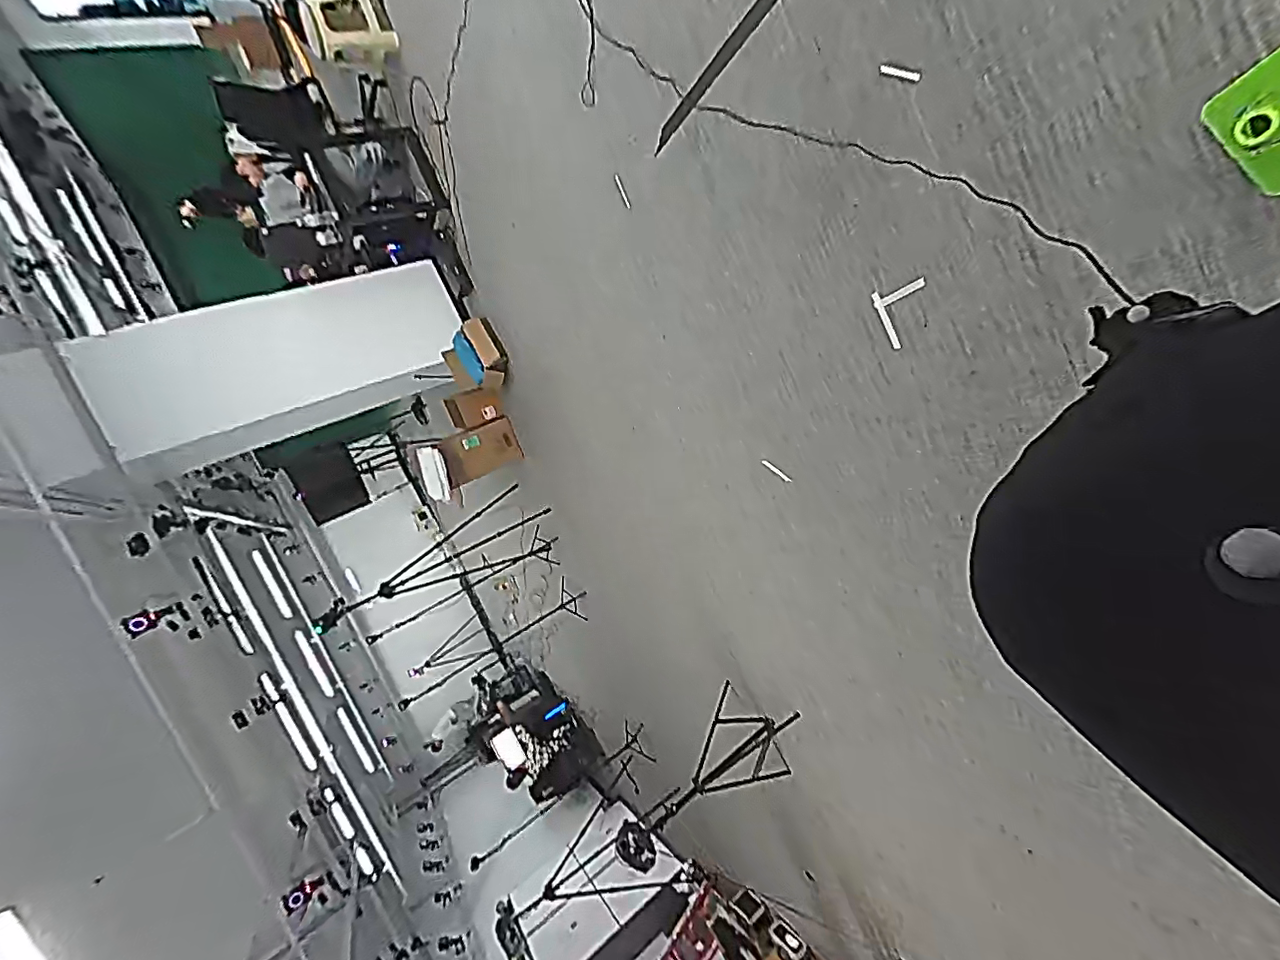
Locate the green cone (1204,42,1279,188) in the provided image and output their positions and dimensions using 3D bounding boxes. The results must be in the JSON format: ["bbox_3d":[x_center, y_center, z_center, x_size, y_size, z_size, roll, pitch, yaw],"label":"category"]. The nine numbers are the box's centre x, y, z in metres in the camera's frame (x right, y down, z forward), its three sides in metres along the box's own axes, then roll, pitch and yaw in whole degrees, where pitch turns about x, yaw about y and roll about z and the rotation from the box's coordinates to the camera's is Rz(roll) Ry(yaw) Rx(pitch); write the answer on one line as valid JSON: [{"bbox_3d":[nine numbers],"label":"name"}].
[{"bbox_3d":[0.899,-0.521,0.749,0.200,0.368,0.202,59,155,8],"label":"green cone"}]
